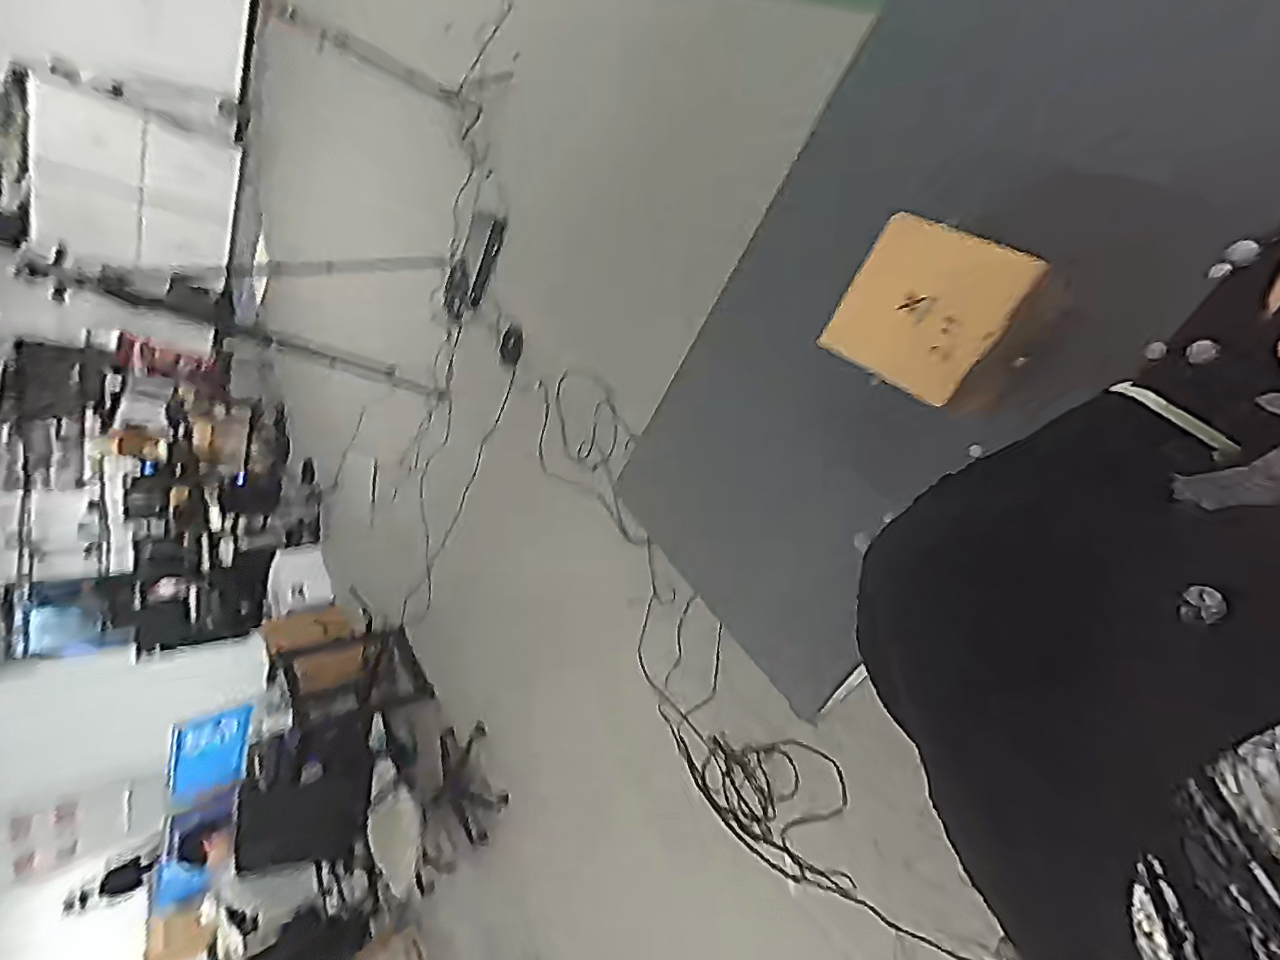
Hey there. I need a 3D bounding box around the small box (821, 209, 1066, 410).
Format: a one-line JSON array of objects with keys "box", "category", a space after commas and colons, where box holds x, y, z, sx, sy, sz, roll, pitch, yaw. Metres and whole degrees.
[{"box": [0.365, -0.196, 0.655, 0.179, 0.176, 0.168, 44, 119, 36], "category": "small box"}]
